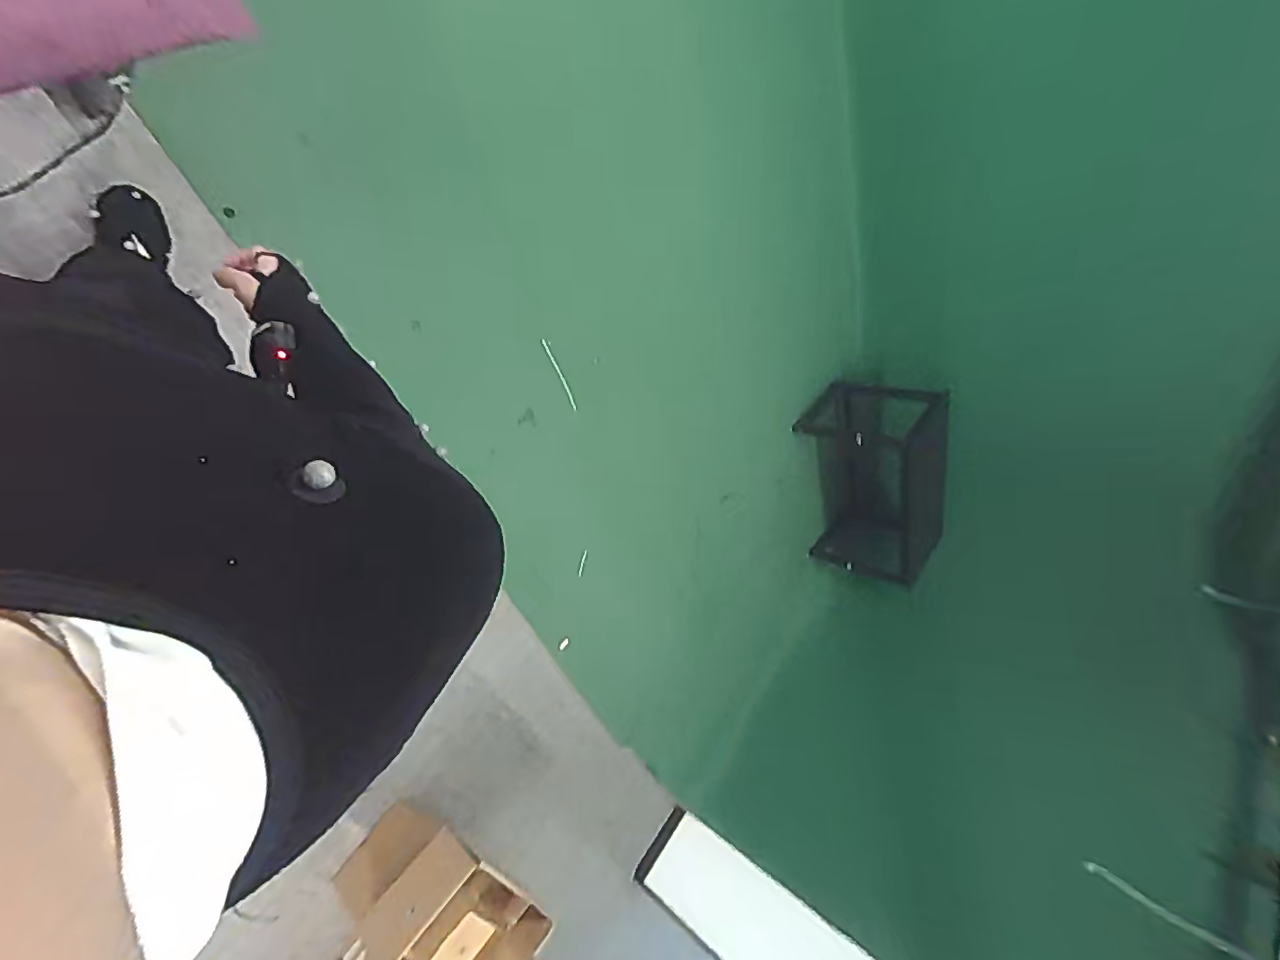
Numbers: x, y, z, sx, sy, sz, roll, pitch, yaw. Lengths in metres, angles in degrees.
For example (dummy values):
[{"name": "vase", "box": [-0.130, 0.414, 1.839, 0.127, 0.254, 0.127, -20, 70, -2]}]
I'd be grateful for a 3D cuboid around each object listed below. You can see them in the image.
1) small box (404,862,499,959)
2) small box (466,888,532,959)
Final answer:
[{"name": "small box", "box": [-0.554, 1.276, 1.590, 0.168, 0.176, 0.179, -43, 132, -29]}, {"name": "small box", "box": [-0.487, 1.468, 1.740, 0.168, 0.176, 0.179, -44, 129, -27]}]
